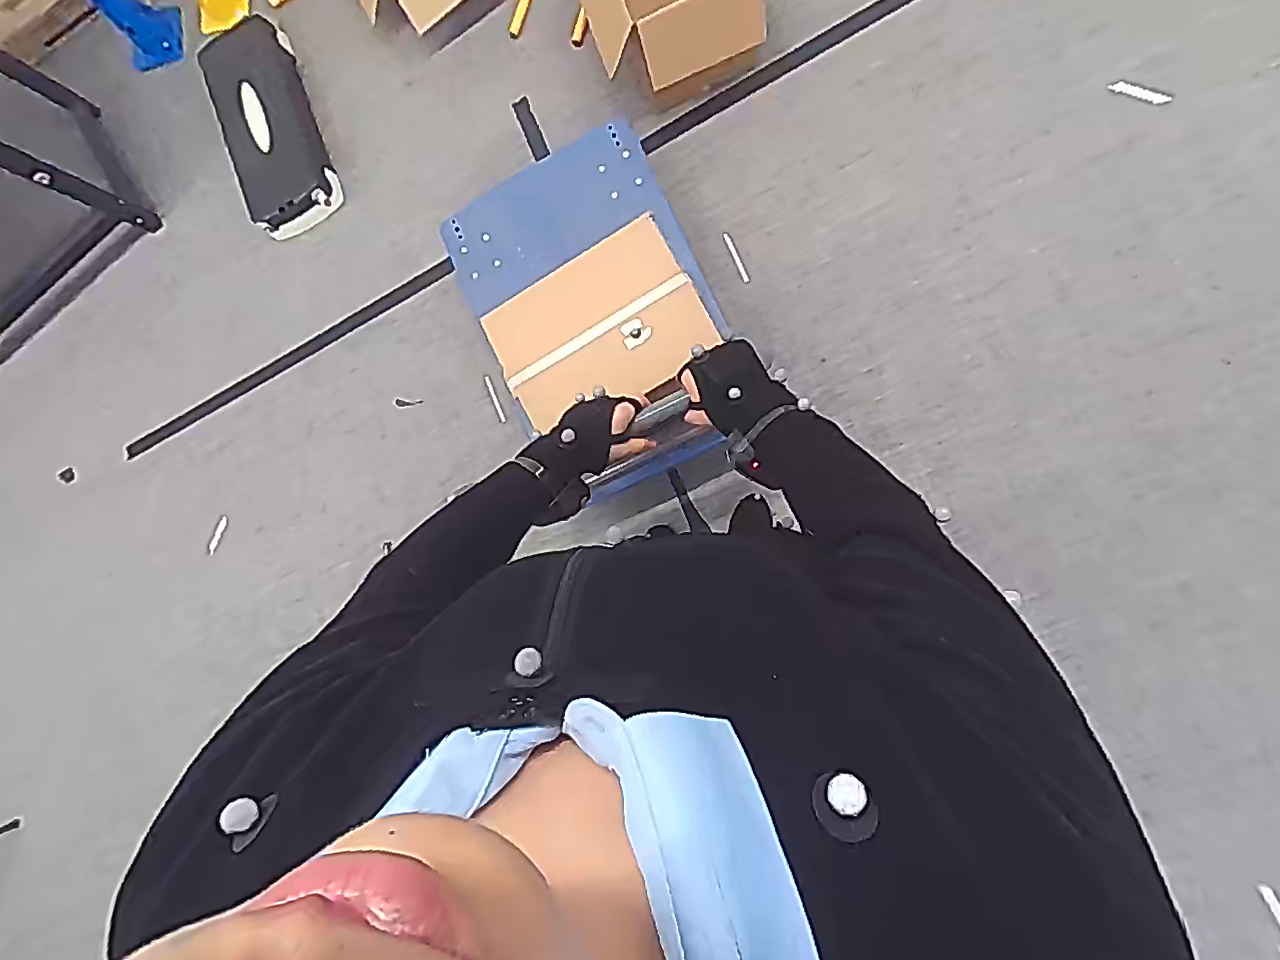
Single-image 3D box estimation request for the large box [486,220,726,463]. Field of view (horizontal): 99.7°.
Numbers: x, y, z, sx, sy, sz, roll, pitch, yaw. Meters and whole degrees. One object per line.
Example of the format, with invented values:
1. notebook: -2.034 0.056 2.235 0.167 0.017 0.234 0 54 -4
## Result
1. large box: -0.054 -0.275 1.213 0.408 0.320 0.320 -29 84 7
